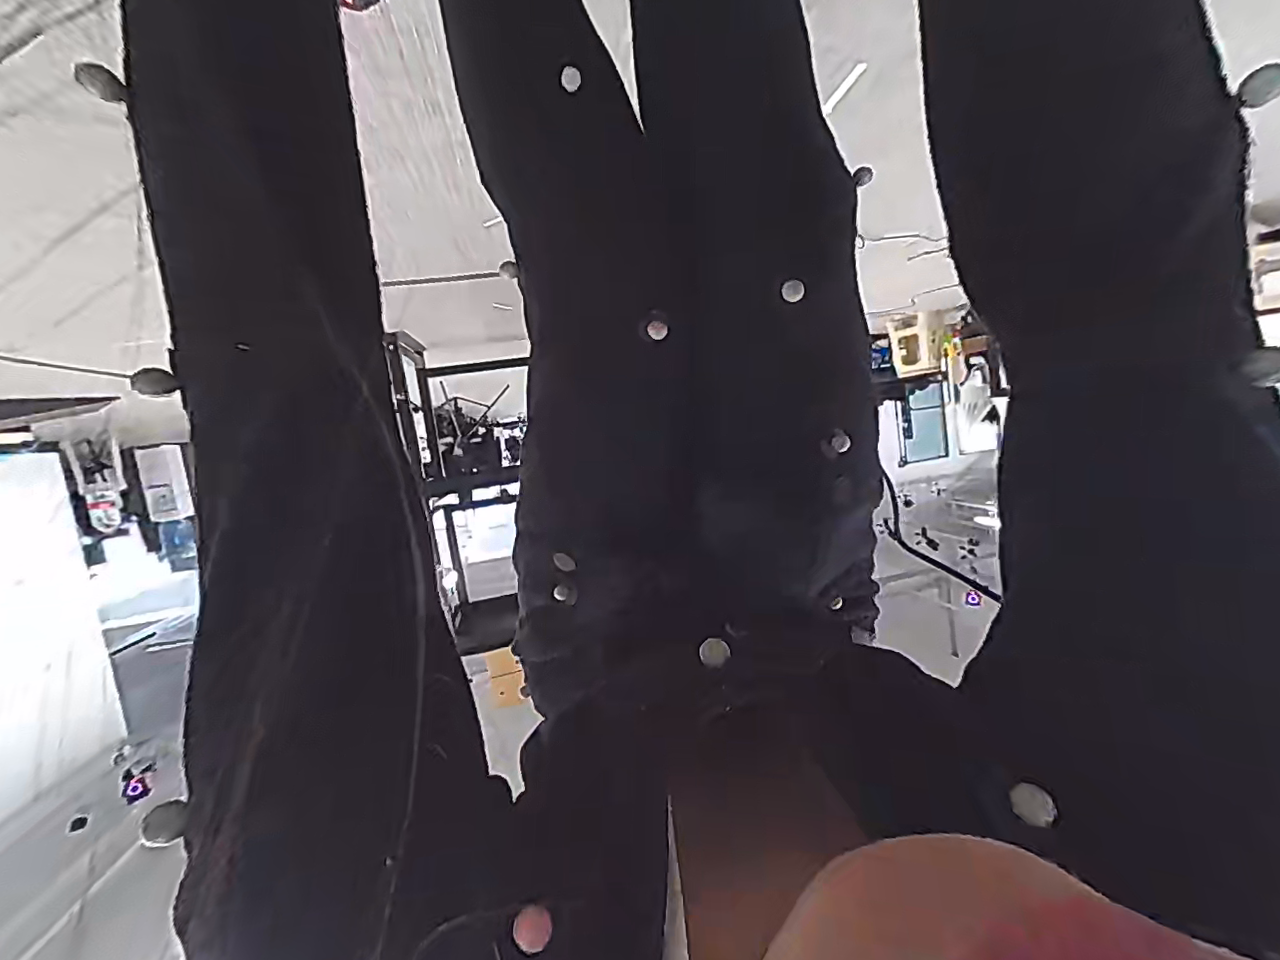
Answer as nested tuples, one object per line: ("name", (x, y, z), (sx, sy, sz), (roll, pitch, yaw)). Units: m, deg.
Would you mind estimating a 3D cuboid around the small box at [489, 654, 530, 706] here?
("small box", (-0.651, 0.985, 2.679), (0.179, 0.176, 0.168), (-11, -171, -11))
